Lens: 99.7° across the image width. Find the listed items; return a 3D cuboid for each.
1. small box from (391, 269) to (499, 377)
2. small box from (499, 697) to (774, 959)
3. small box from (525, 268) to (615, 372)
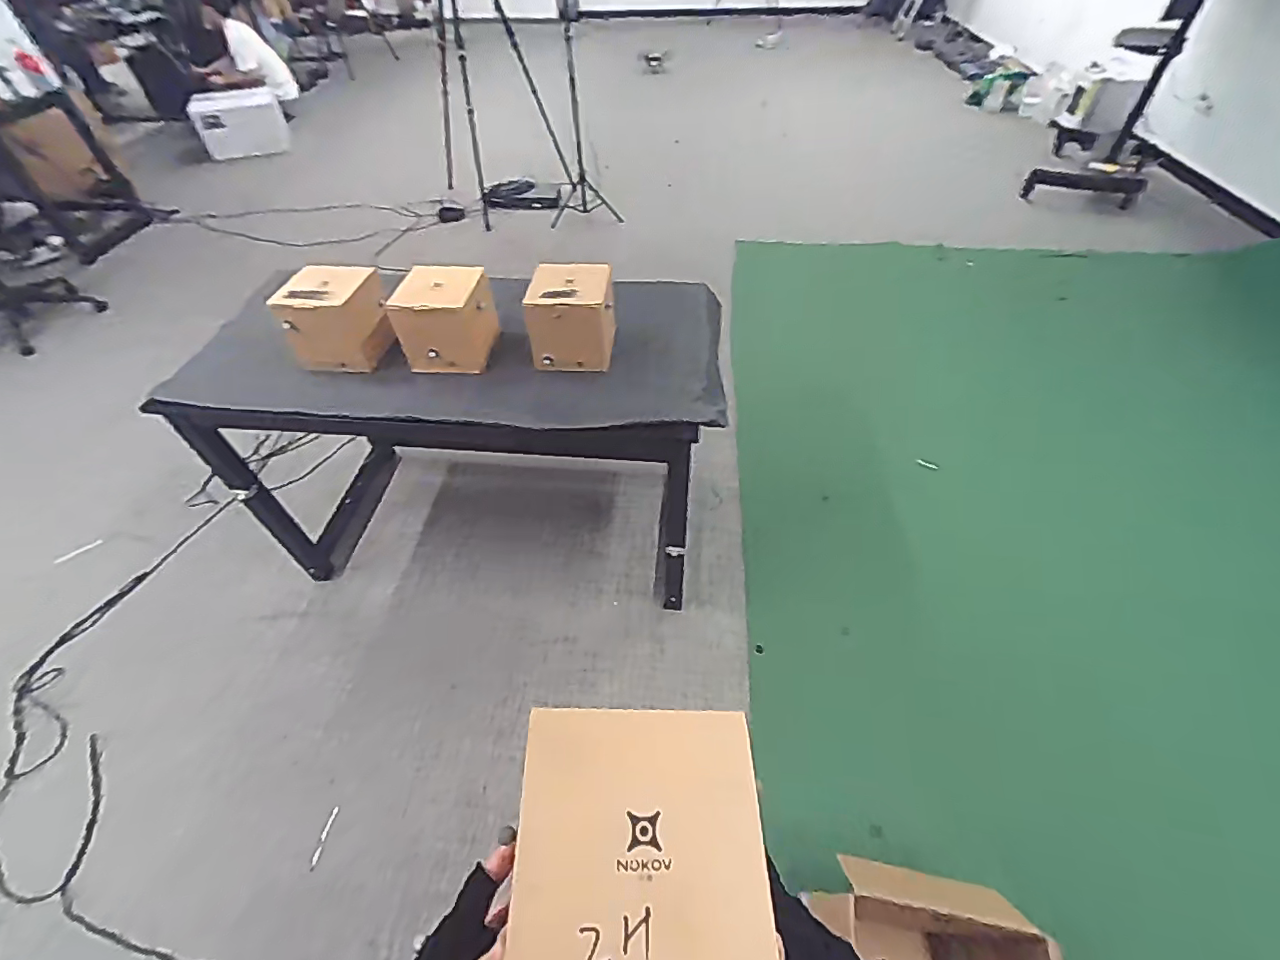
[{"bbox_3d":[-0.430,-0.358,1.230,0.168,0.176,0.179,3,49,4],"label":"small box"},{"bbox_3d":[-0.011,0.286,0.418,0.168,0.176,0.179,3,50,-6],"label":"small box"},{"bbox_3d":[-0.147,-0.358,1.218,0.168,0.176,0.179,2,47,4],"label":"small box"}]
